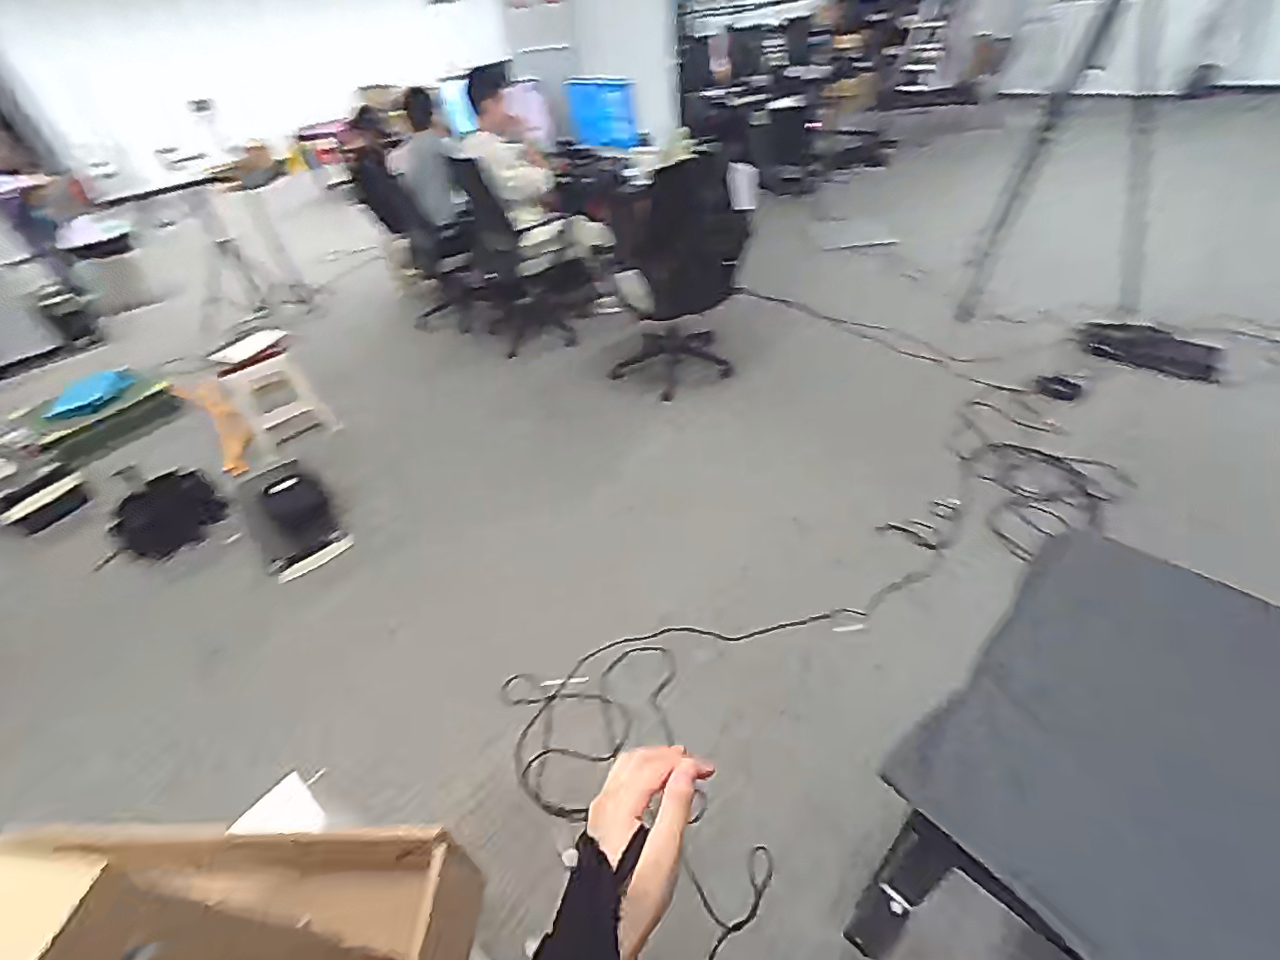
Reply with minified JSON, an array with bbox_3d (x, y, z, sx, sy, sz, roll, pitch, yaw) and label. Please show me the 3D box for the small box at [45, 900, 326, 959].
[{"bbox_3d":[-0.408,0.487,0.463,0.168,0.176,0.179,-4,44,8],"label":"small box"}]
